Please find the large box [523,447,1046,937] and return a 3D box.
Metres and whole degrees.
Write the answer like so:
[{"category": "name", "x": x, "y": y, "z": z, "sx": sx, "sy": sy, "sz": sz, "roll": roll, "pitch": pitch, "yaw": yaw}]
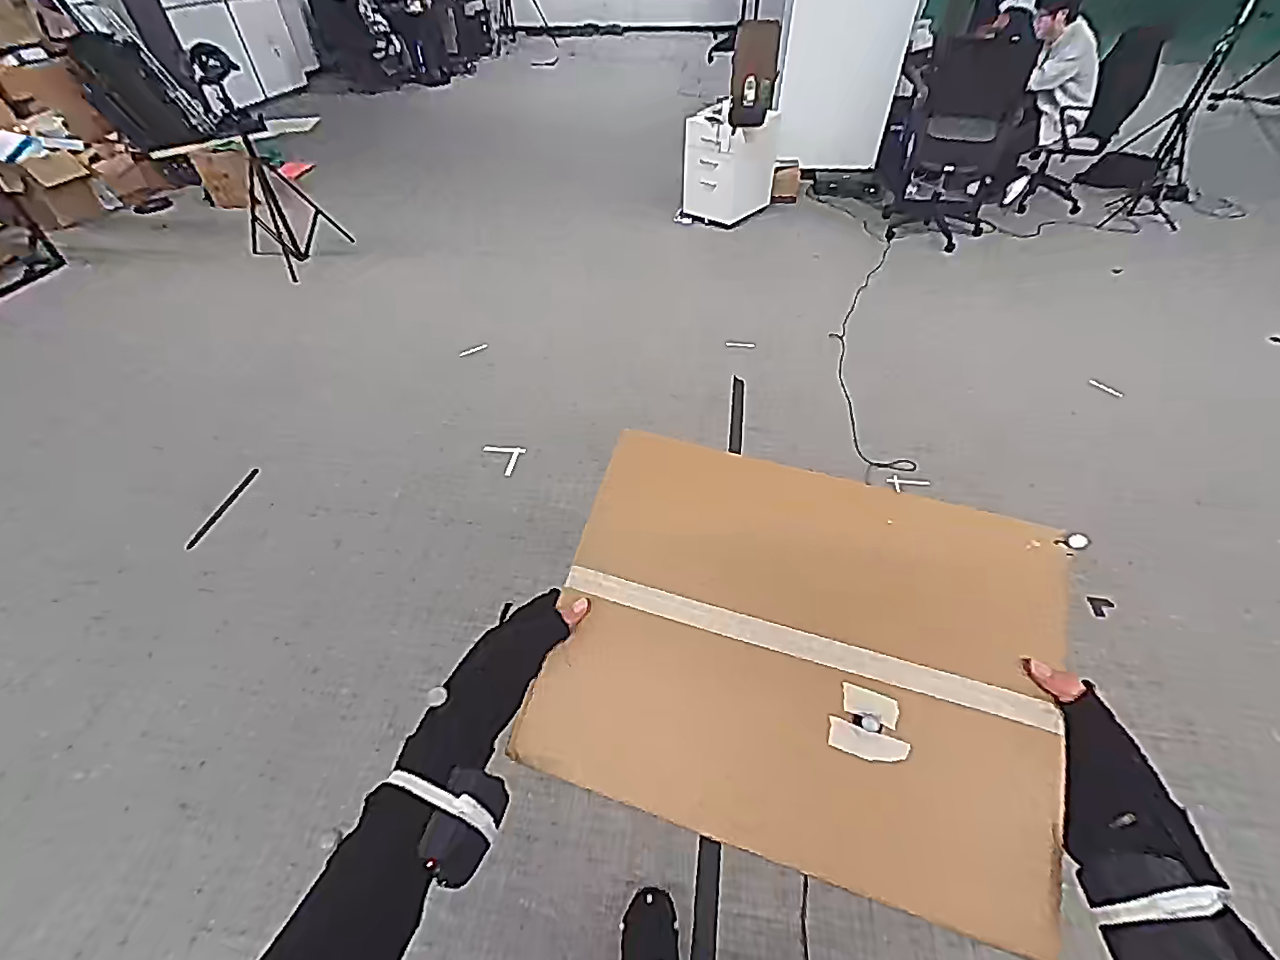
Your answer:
[{"category": "large box", "x": 0.143, "y": 0.200, "z": 0.604, "sx": 0.408, "sy": 0.320, "sz": 0.320, "roll": 14, "pitch": 70, "yaw": 12}]
